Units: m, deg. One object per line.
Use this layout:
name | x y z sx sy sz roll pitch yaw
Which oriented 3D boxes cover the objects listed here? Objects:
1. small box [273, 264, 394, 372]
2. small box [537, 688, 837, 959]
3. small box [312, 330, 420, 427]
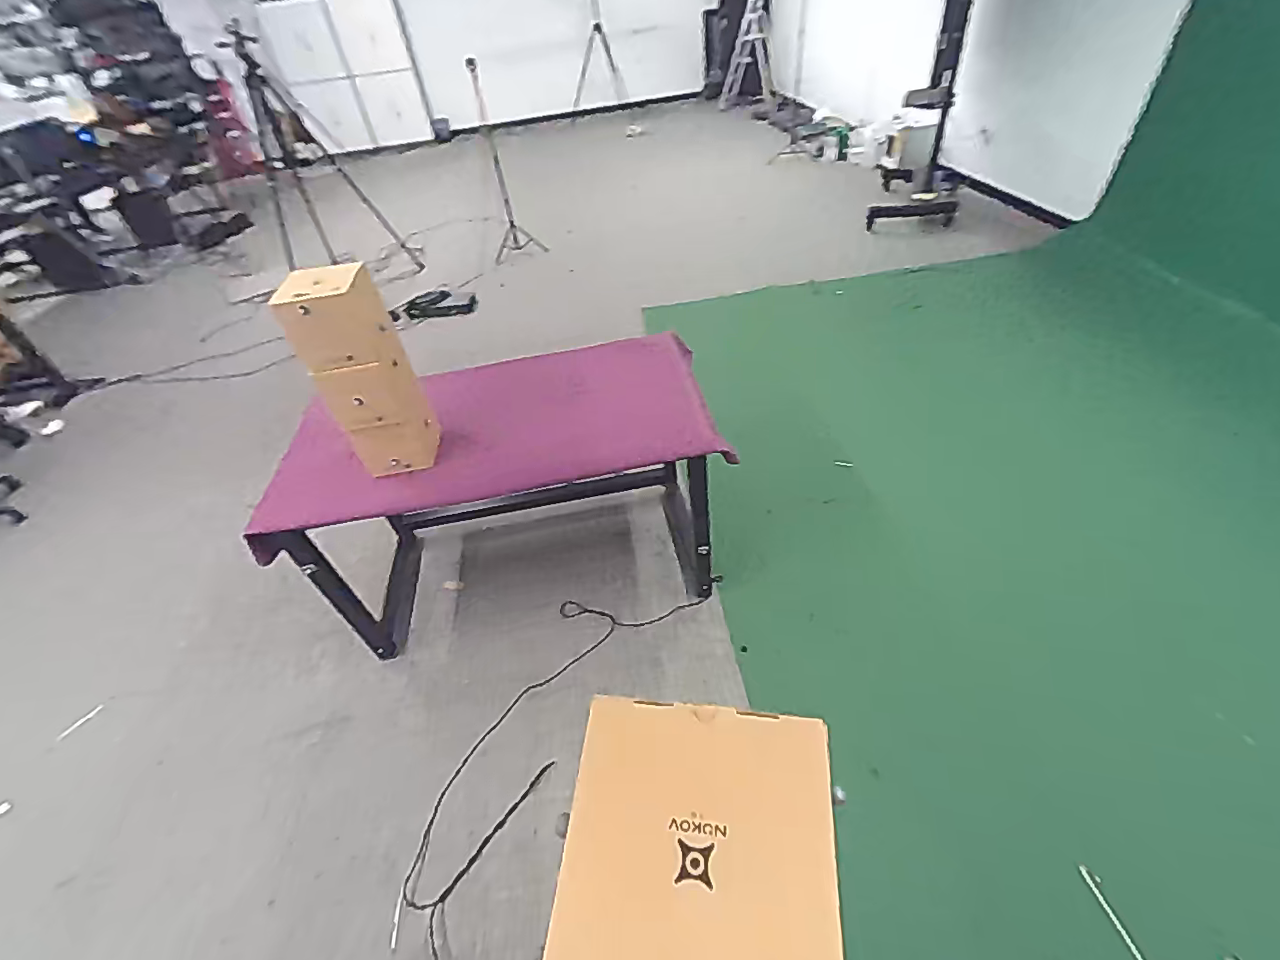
small box | -0.685 -0.370 1.236 0.168 0.176 0.179 -11 43 -2
small box | 0.040 0.272 0.388 0.168 0.176 0.179 2 50 9
small box | -0.667 -0.246 1.342 0.168 0.176 0.179 -9 43 -1
